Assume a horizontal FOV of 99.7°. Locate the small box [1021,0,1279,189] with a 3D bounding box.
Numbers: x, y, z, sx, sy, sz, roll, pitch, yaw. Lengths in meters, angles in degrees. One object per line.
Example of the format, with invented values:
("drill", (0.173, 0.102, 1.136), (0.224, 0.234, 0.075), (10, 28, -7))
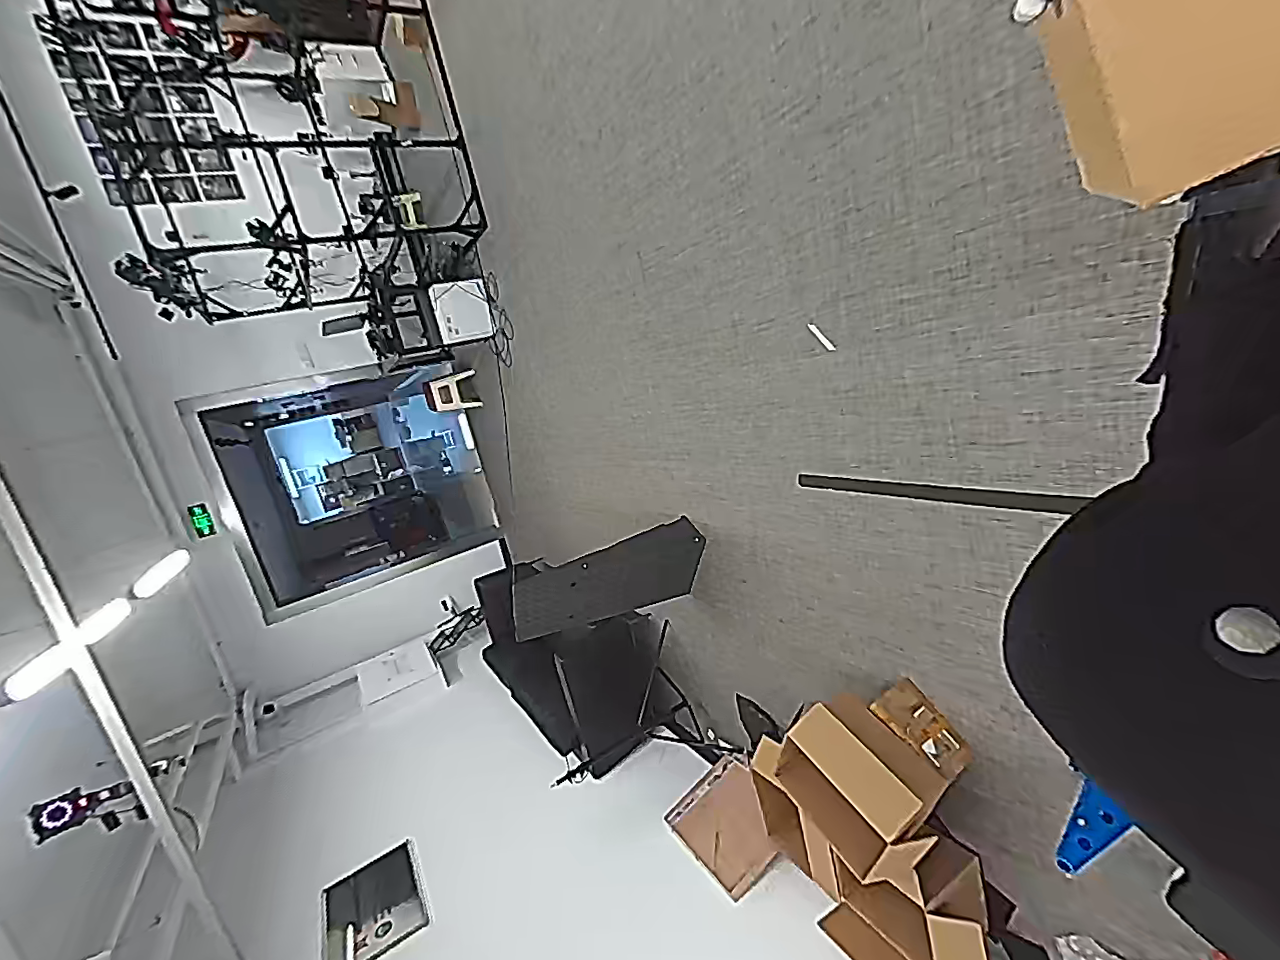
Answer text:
("small box", (0.257, -0.241, 0.210), (0.168, 0.176, 0.179), (-19, 104, 40))
